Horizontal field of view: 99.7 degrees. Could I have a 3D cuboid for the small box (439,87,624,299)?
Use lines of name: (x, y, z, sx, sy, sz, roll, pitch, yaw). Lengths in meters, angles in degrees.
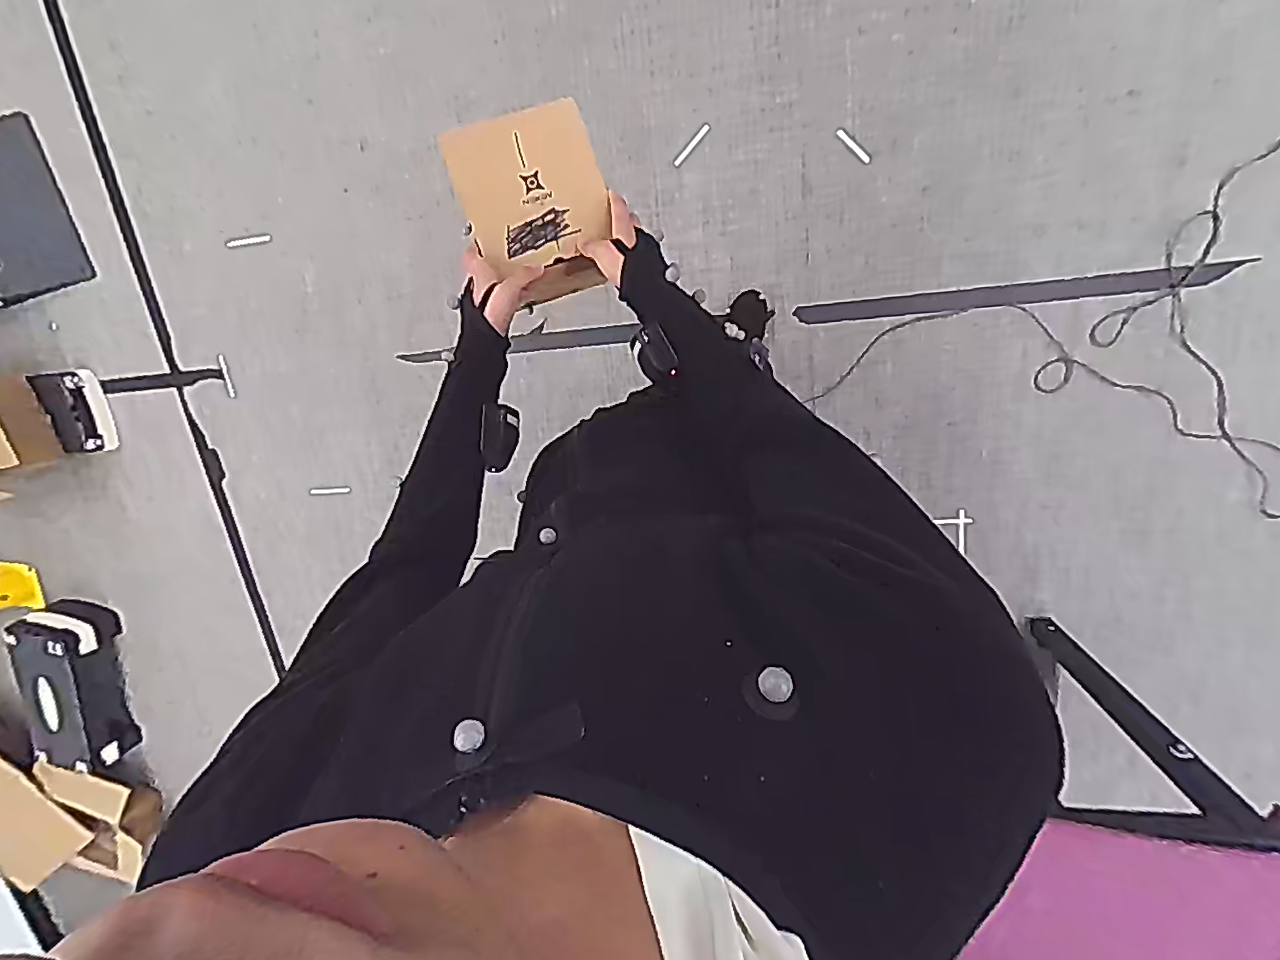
small box: (-0.131, -0.349, 0.698, 0.168, 0.176, 0.179, -21, 98, -6)
